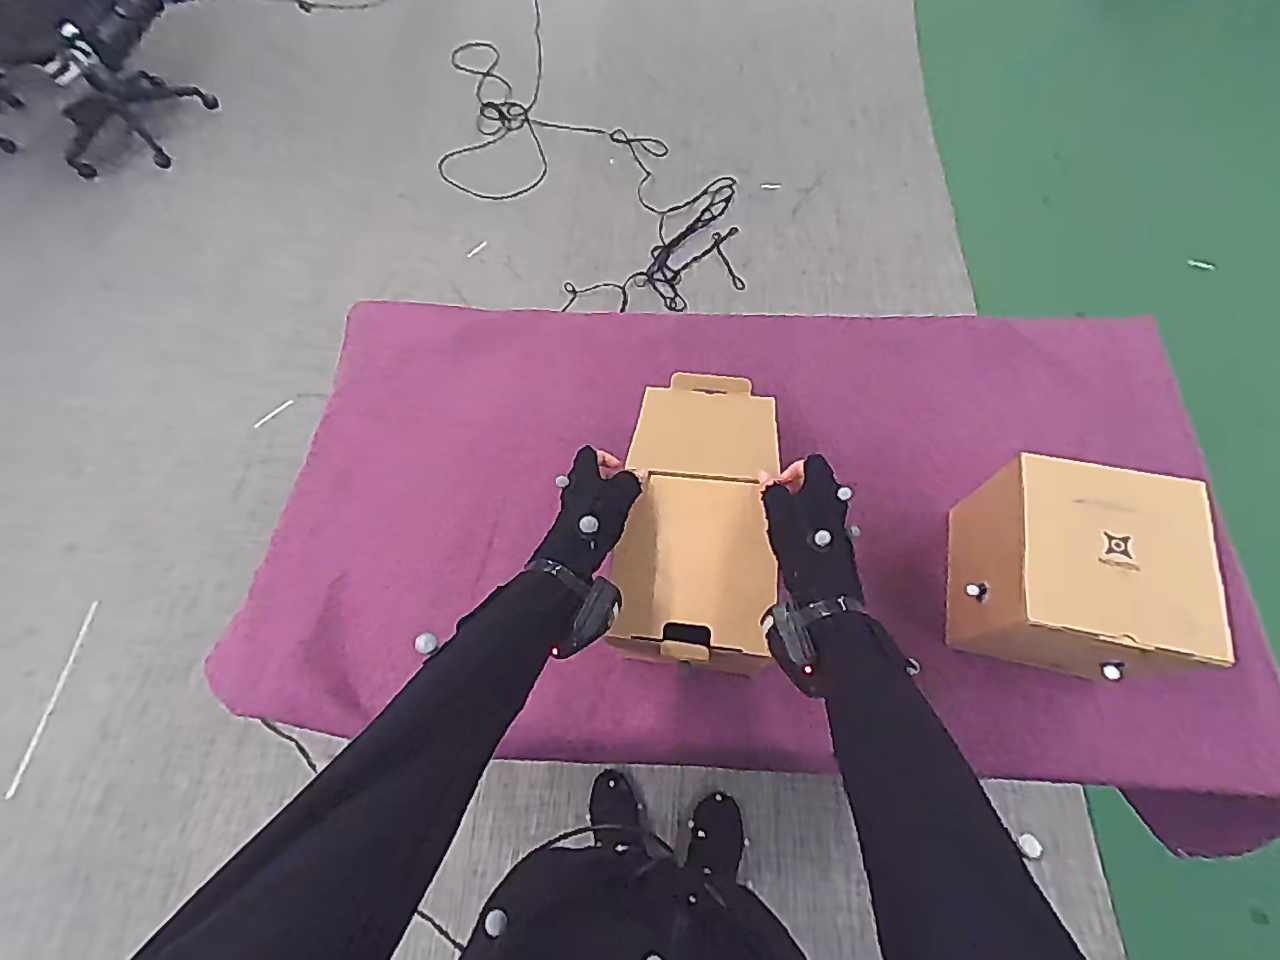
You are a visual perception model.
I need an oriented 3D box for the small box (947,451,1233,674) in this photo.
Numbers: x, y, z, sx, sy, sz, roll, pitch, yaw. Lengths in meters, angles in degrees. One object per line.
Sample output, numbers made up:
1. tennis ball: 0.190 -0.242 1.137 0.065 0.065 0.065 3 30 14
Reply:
1. small box: 0.447 0.096 0.571 0.168 0.176 0.179 12 67 10
